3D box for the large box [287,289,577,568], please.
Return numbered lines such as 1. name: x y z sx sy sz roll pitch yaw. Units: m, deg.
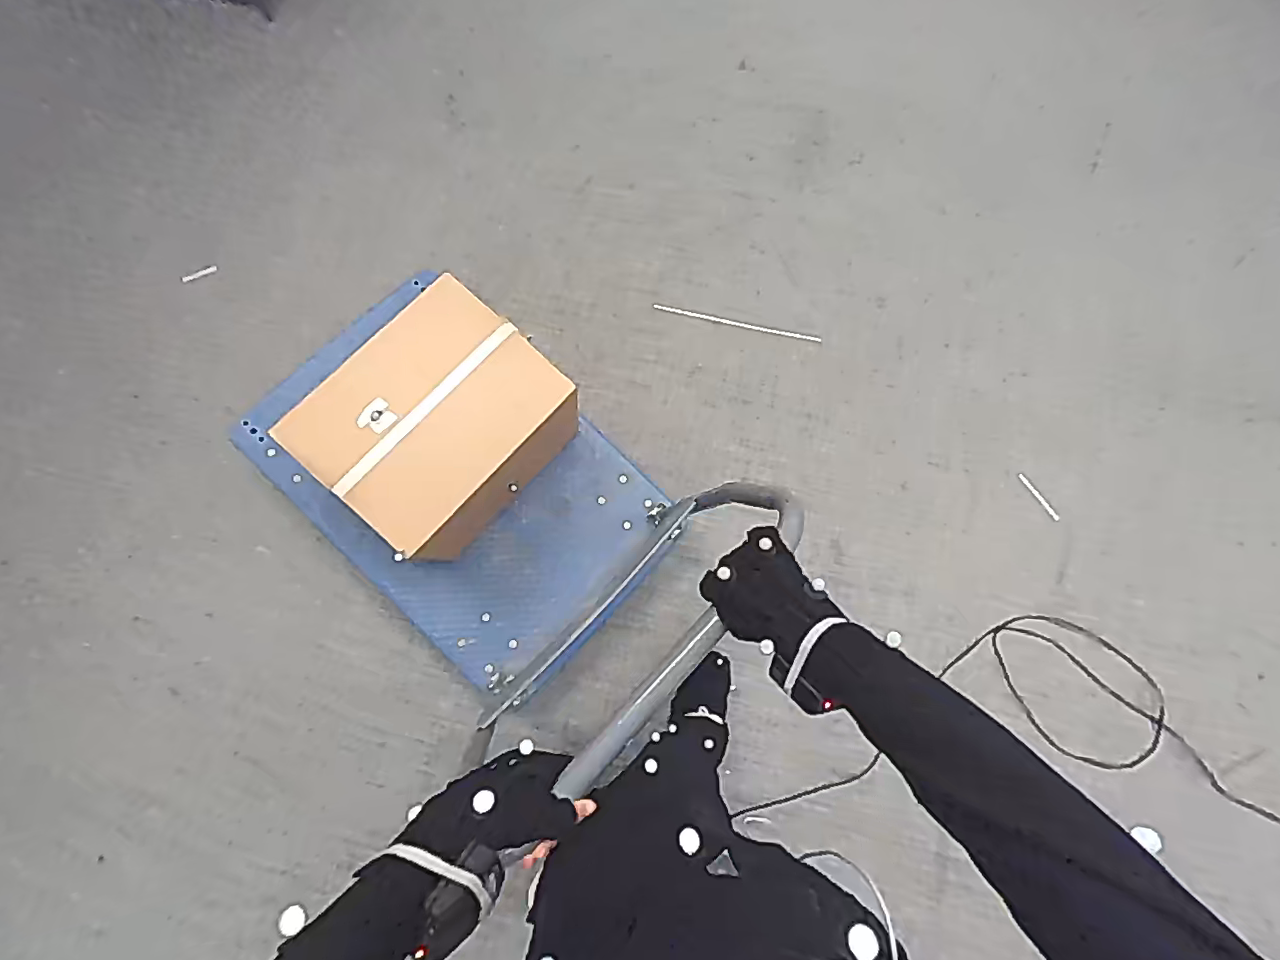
1. large box: -0.366 -0.079 1.078 0.320 0.320 0.408 40 80 2
